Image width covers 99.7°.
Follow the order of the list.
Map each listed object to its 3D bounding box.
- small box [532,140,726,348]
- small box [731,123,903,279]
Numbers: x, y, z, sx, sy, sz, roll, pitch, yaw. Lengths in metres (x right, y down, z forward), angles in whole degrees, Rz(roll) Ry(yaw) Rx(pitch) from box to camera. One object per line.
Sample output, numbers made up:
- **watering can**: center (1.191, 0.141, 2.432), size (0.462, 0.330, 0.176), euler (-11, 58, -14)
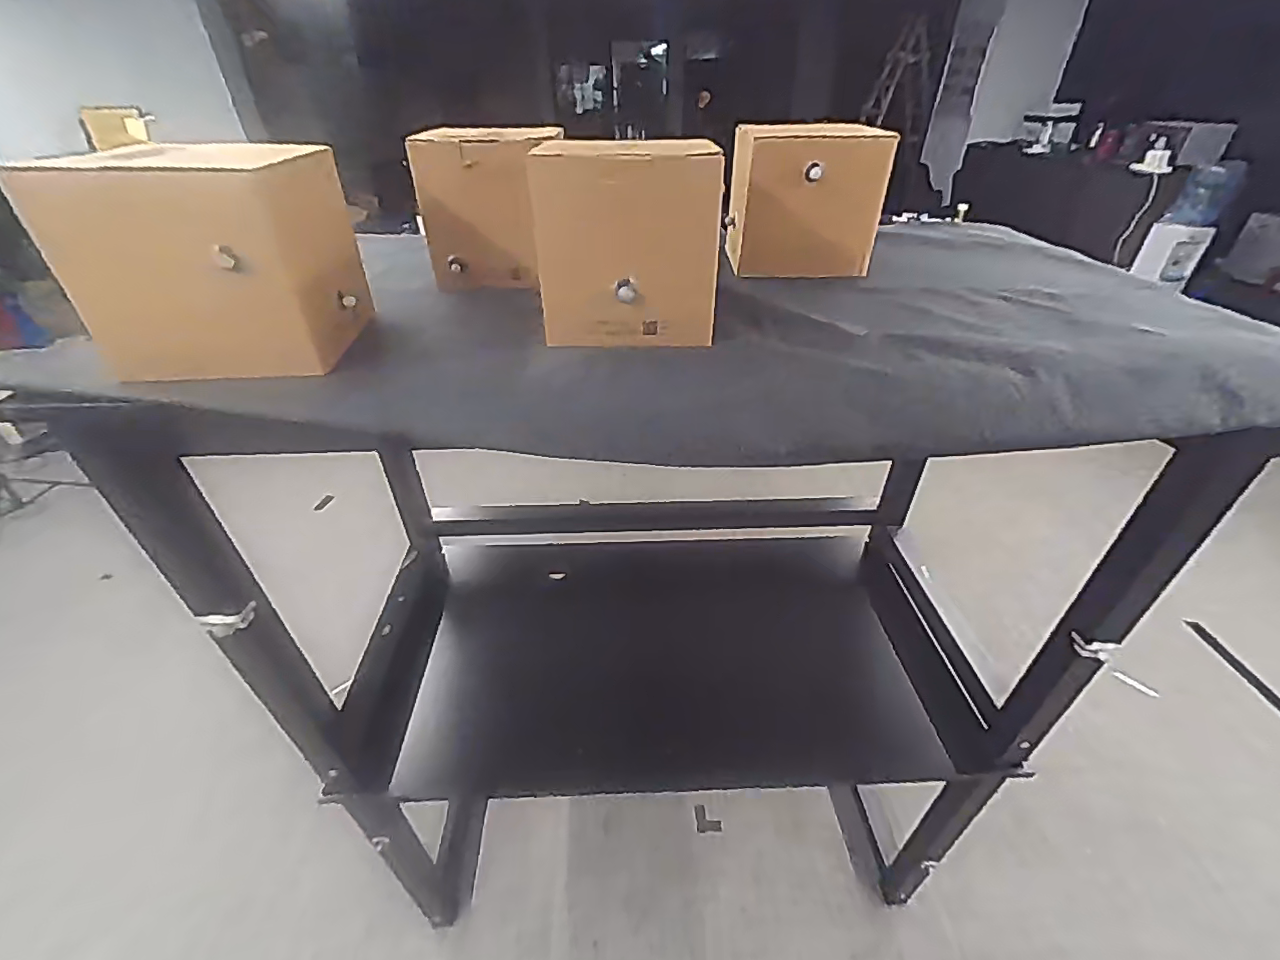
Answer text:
- **small box**: center (-0.007, -0.248, 0.560), size (0.168, 0.176, 0.179), euler (0, 35, 2)
- **small box**: center (0.227, -0.385, 0.747), size (0.179, 0.176, 0.168), euler (0, 36, 2)
